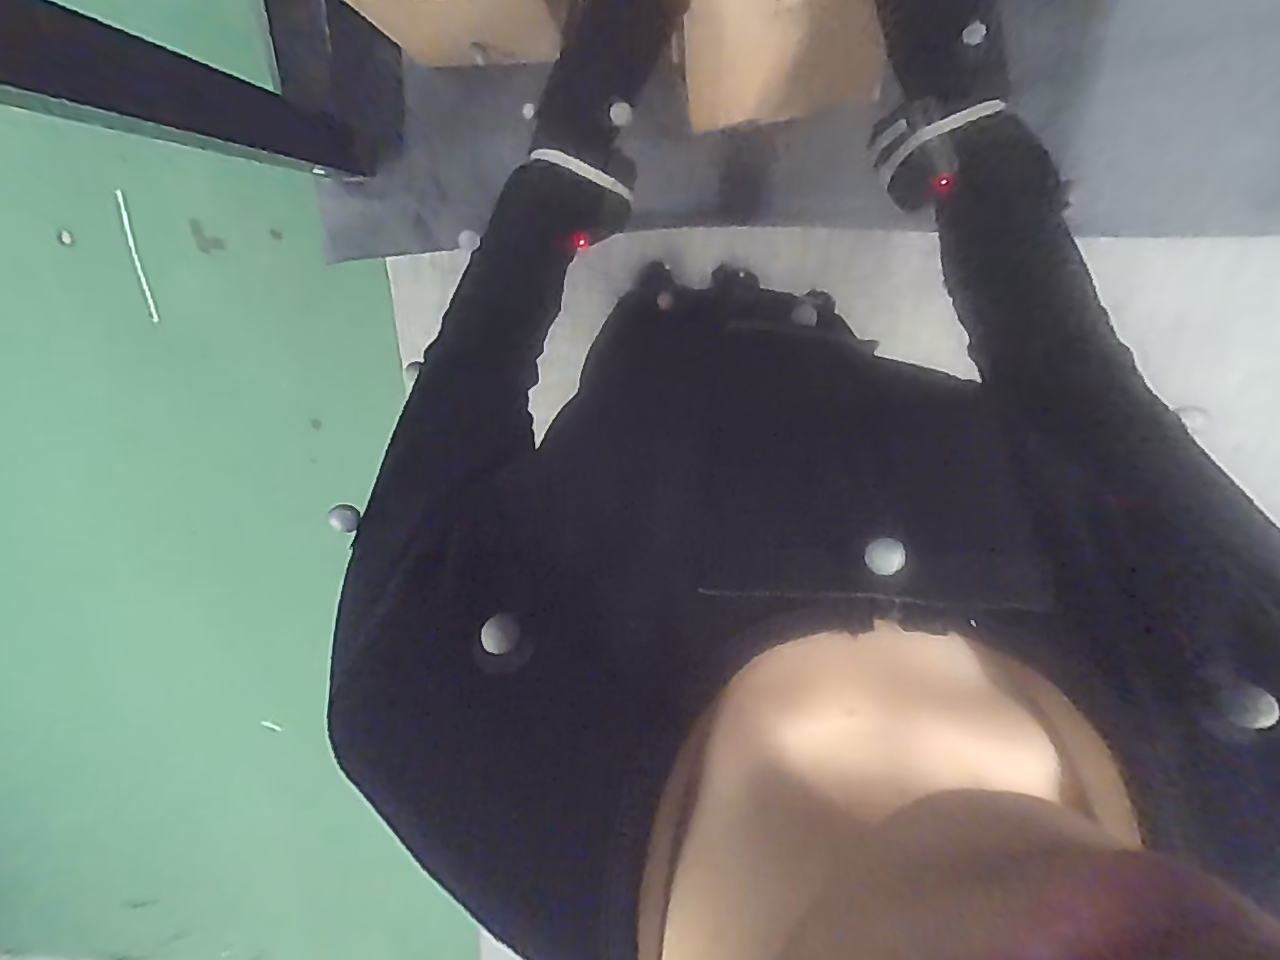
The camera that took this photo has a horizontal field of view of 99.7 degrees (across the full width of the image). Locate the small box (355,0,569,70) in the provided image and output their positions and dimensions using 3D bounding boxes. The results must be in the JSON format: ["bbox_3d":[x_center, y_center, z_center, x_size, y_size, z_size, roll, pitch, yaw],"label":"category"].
[{"bbox_3d":[-0.160,-0.495,0.474,0.168,0.176,0.179,1,111,4],"label":"small box"}]

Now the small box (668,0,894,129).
[{"bbox_3d":[0.106,-0.433,0.449,0.168,0.176,0.179,-7,144,6],"label":"small box"}]
